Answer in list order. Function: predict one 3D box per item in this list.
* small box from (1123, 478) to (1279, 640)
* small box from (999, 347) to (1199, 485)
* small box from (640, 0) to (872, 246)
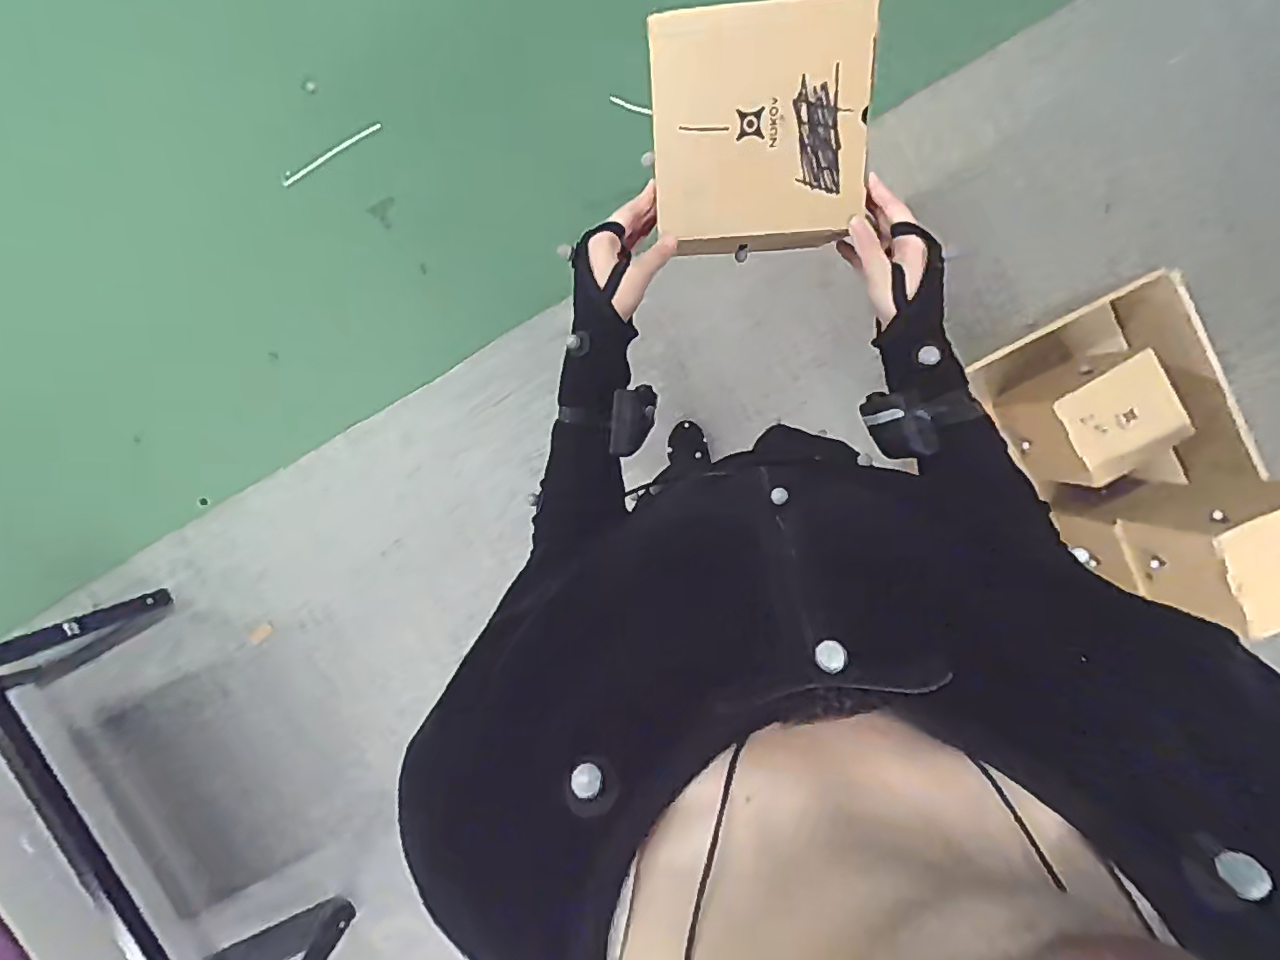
[{"bbox_3d":[0.897,0.106,0.808,0.179,0.176,0.168,-24,93,5],"label":"small box"},{"bbox_3d":[0.793,-0.113,0.953,0.179,0.176,0.168,-31,94,6],"label":"small box"},{"bbox_3d":[0.096,-0.319,0.504,0.179,0.176,0.168,-2,108,6],"label":"small box"}]
